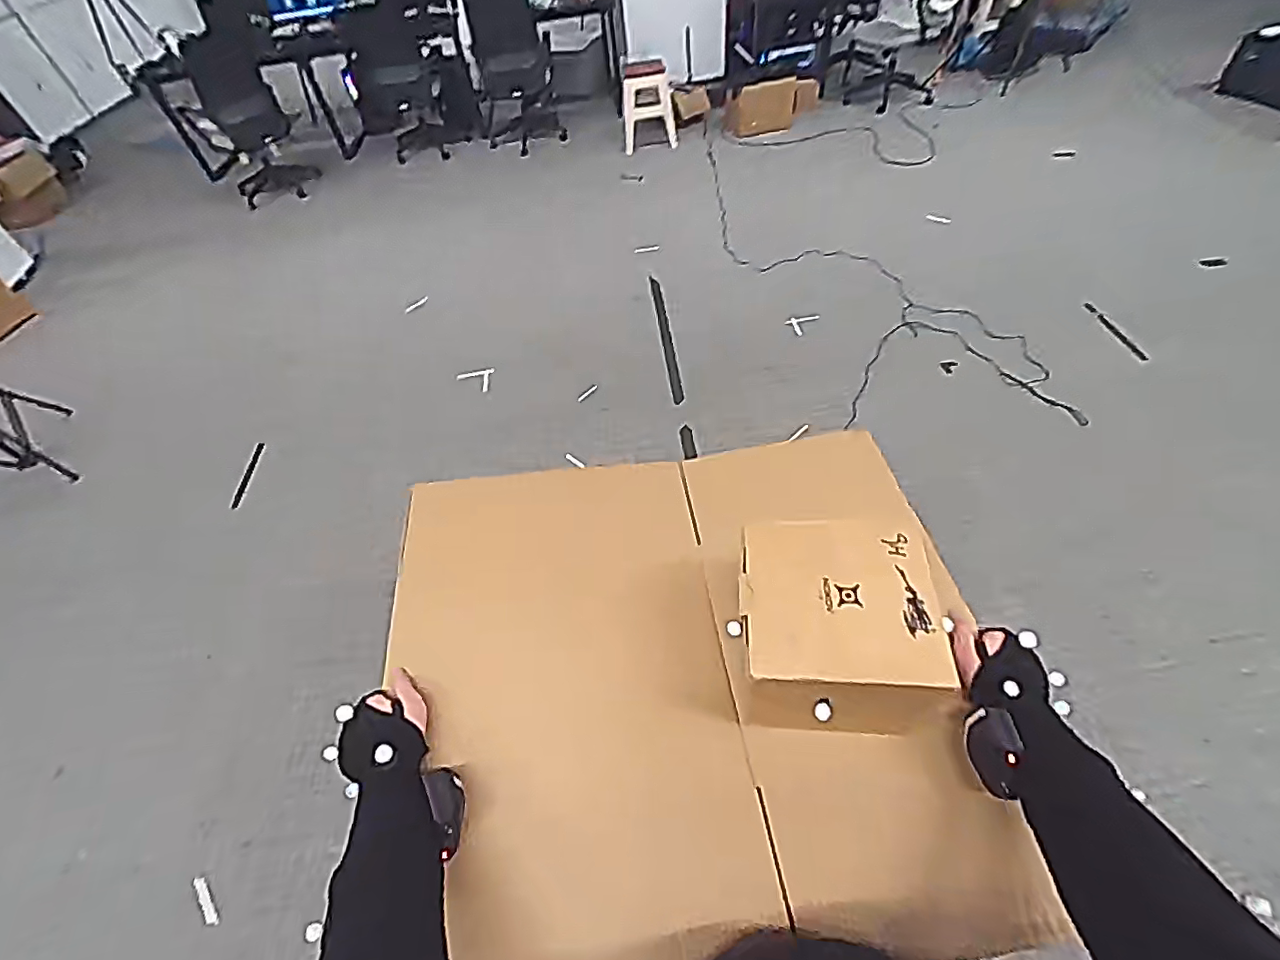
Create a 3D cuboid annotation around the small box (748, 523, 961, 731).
[{"bbox_3d":[0.208,0.161,0.581,0.179,0.176,0.168,-1,52,10],"label":"small box"}]
